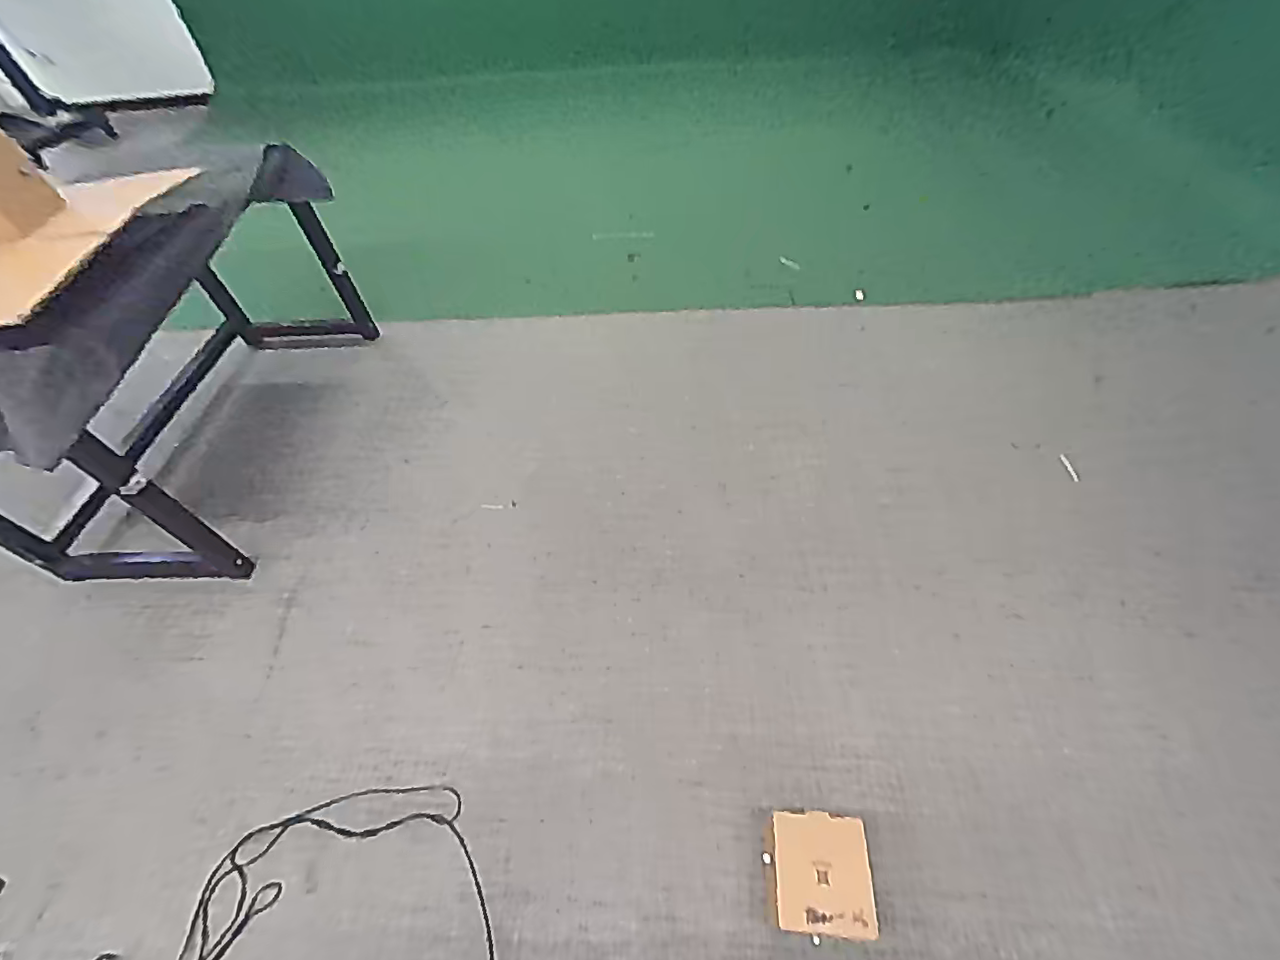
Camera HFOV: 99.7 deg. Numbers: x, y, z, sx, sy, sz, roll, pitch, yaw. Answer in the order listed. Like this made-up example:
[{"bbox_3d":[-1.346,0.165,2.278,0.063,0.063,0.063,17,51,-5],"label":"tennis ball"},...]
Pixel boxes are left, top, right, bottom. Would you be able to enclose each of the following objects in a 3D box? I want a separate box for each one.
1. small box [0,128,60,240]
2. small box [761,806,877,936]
[{"bbox_3d":[-1.434,-0.631,1.165,0.168,0.176,0.179,-10,51,1],"label":"small box"},{"bbox_3d":[0.323,0.733,1.014,0.168,0.176,0.179,2,51,6],"label":"small box"}]
